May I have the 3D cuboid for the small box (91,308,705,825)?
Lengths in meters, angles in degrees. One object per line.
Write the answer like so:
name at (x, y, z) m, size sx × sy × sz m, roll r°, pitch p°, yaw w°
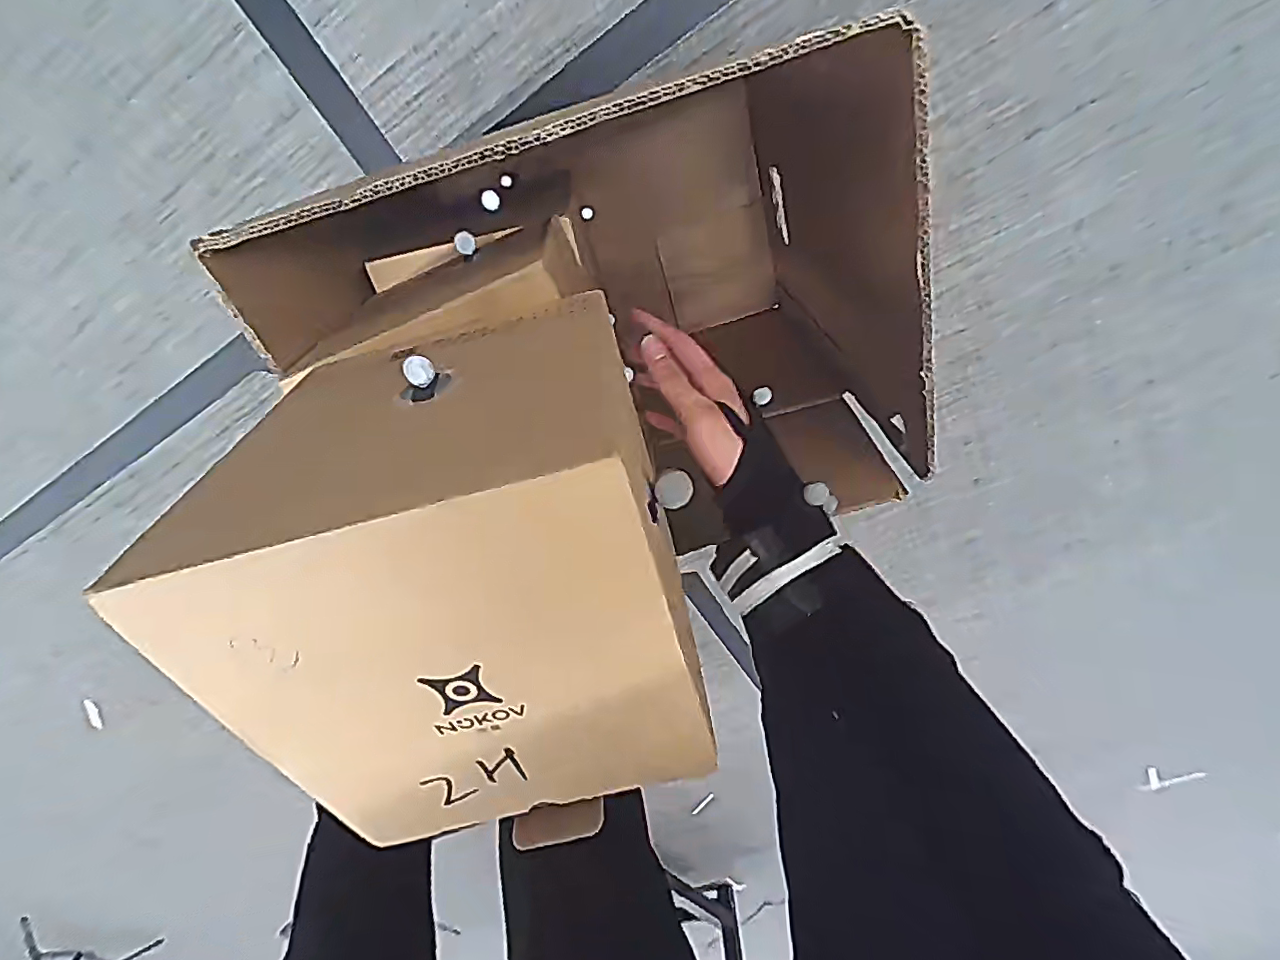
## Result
small box at (-0.075, 0.030, 0.269) m, size 0.168 × 0.176 × 0.179 m, roll -14°, pitch 125°, yaw 3°
